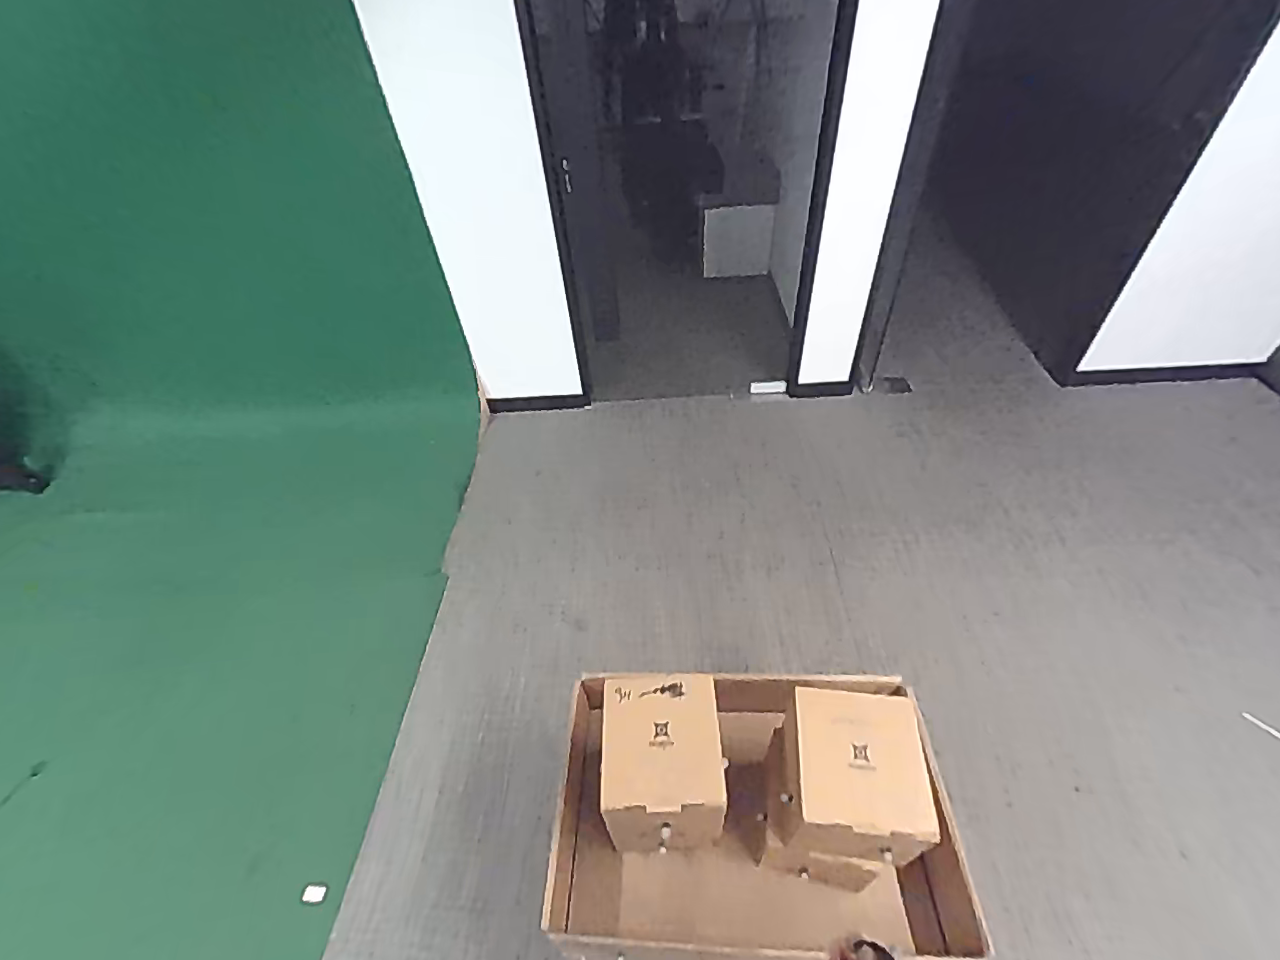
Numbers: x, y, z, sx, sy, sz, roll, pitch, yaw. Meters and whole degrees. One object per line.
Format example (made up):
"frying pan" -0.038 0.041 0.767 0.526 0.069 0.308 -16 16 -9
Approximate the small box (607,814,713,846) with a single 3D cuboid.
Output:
"small box" 0.035 0.508 0.931 0.168 0.176 0.179 -3 45 3

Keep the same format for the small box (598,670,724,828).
"small box" 0.033 0.404 0.804 0.168 0.176 0.179 -2 46 2

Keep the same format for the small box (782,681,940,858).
"small box" 0.299 0.415 0.773 0.168 0.176 0.179 4 46 8
